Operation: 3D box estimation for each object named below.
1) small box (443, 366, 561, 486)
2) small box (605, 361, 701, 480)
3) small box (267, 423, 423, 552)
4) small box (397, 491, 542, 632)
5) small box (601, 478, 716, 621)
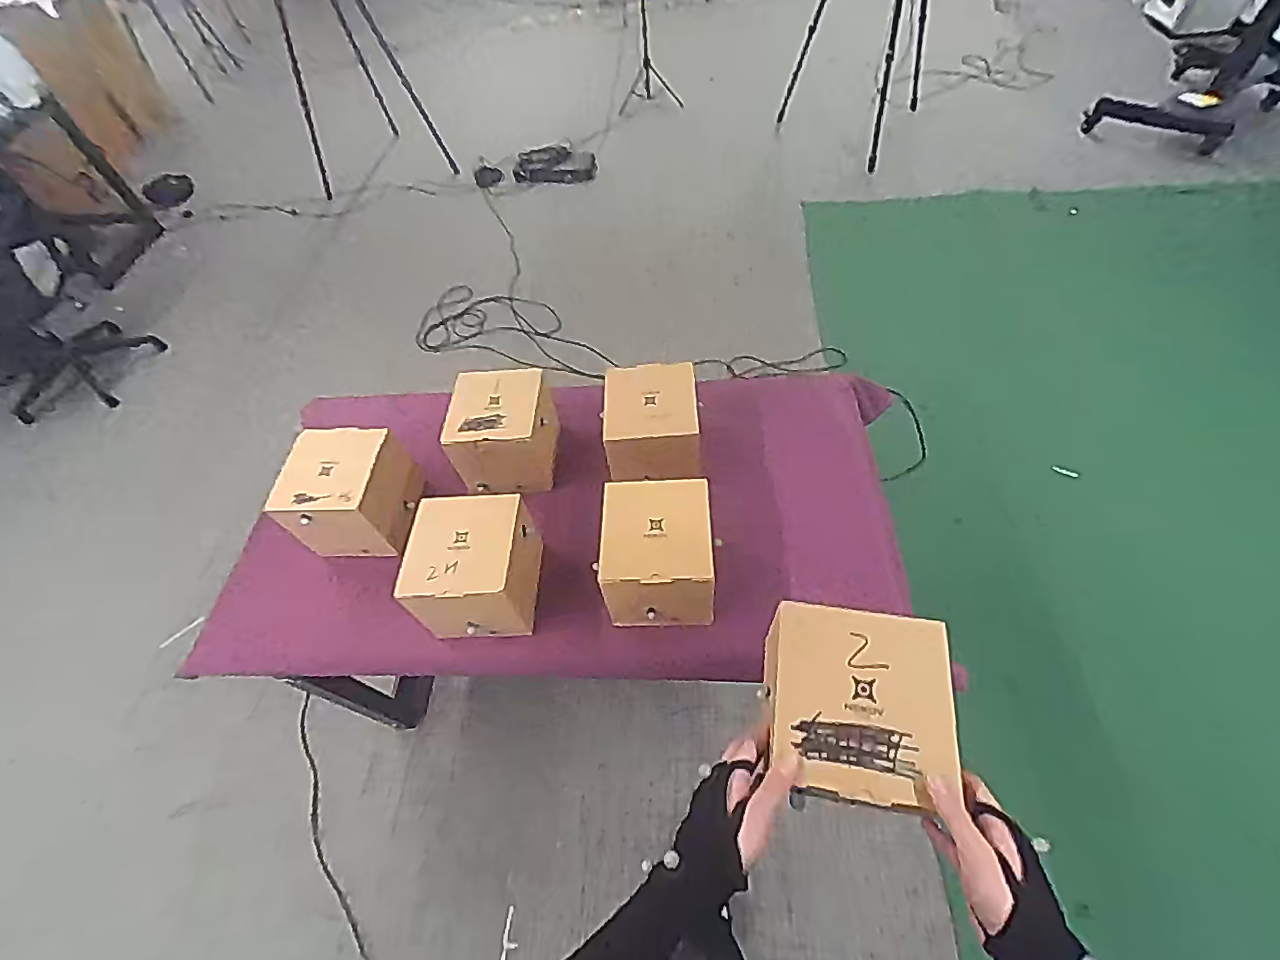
[{"bbox_3d":[-0.255,-0.098,1.049,0.168,0.176,0.179,-2,55,4],"label":"small box"},{"bbox_3d":[0.028,-0.101,1.026,0.168,0.176,0.179,-3,56,5],"label":"small box"},{"bbox_3d":[-0.524,0.015,0.994,0.168,0.176,0.179,-1,55,7],"label":"small box"},{"bbox_3d":[-0.263,0.135,0.886,0.168,0.176,0.179,-2,54,4],"label":"small box"},{"bbox_3d":[0.033,0.115,0.875,0.168,0.176,0.179,-2,56,4],"label":"small box"}]
